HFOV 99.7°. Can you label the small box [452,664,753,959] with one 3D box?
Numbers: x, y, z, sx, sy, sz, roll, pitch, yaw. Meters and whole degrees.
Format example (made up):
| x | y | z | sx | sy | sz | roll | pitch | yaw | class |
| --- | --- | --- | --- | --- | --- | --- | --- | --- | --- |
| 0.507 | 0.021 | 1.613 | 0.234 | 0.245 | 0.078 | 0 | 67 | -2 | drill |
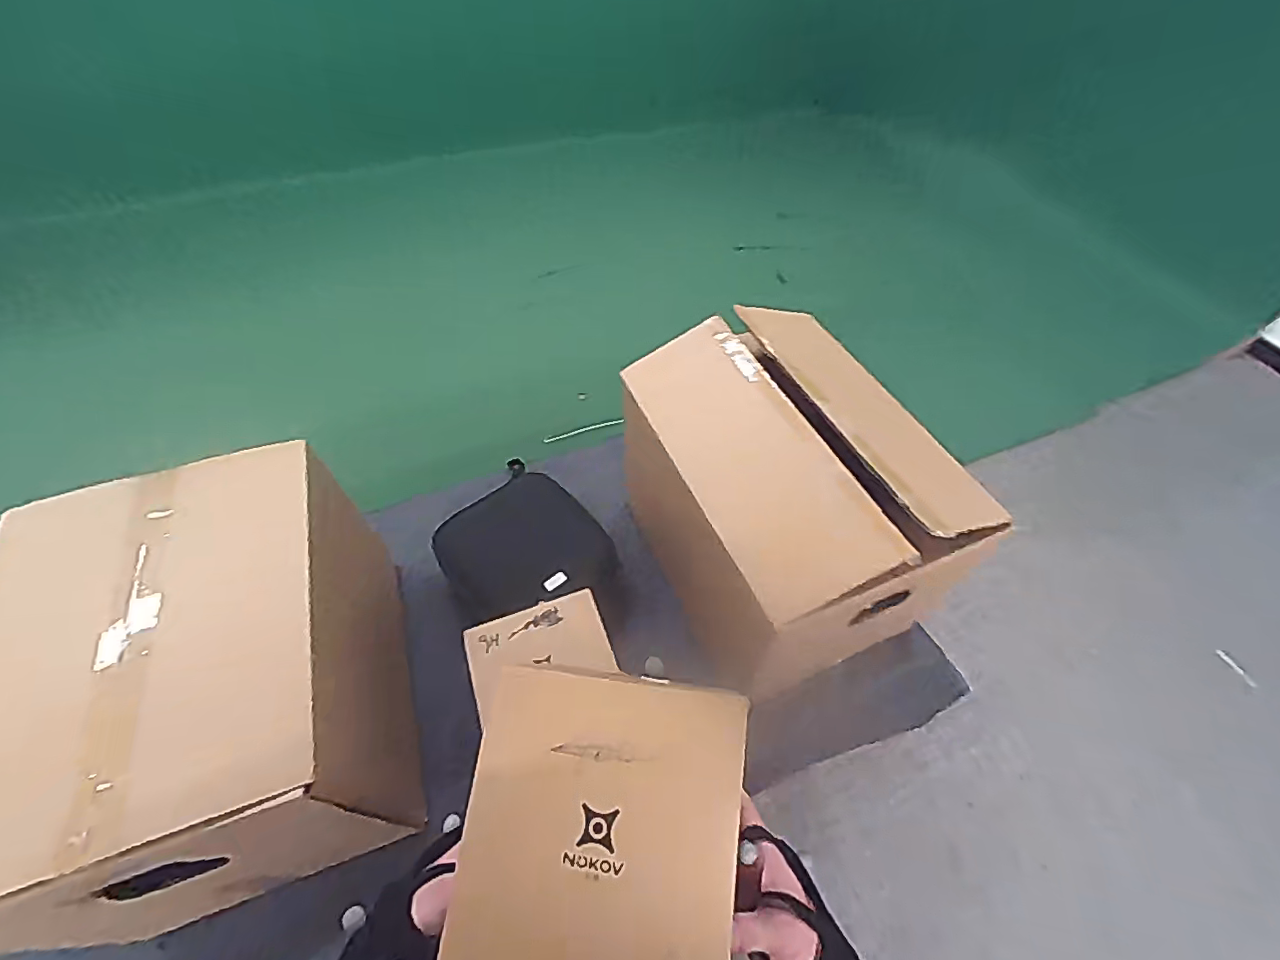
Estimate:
| x | y | z | sx | sy | sz | roll | pitch | yaw | class |
| --- | --- | --- | --- | --- | --- | --- | --- | --- | --- |
| -0.012 | 0.239 | 0.402 | 0.168 | 0.176 | 0.179 | 6 | 72 | 7 | small box |
